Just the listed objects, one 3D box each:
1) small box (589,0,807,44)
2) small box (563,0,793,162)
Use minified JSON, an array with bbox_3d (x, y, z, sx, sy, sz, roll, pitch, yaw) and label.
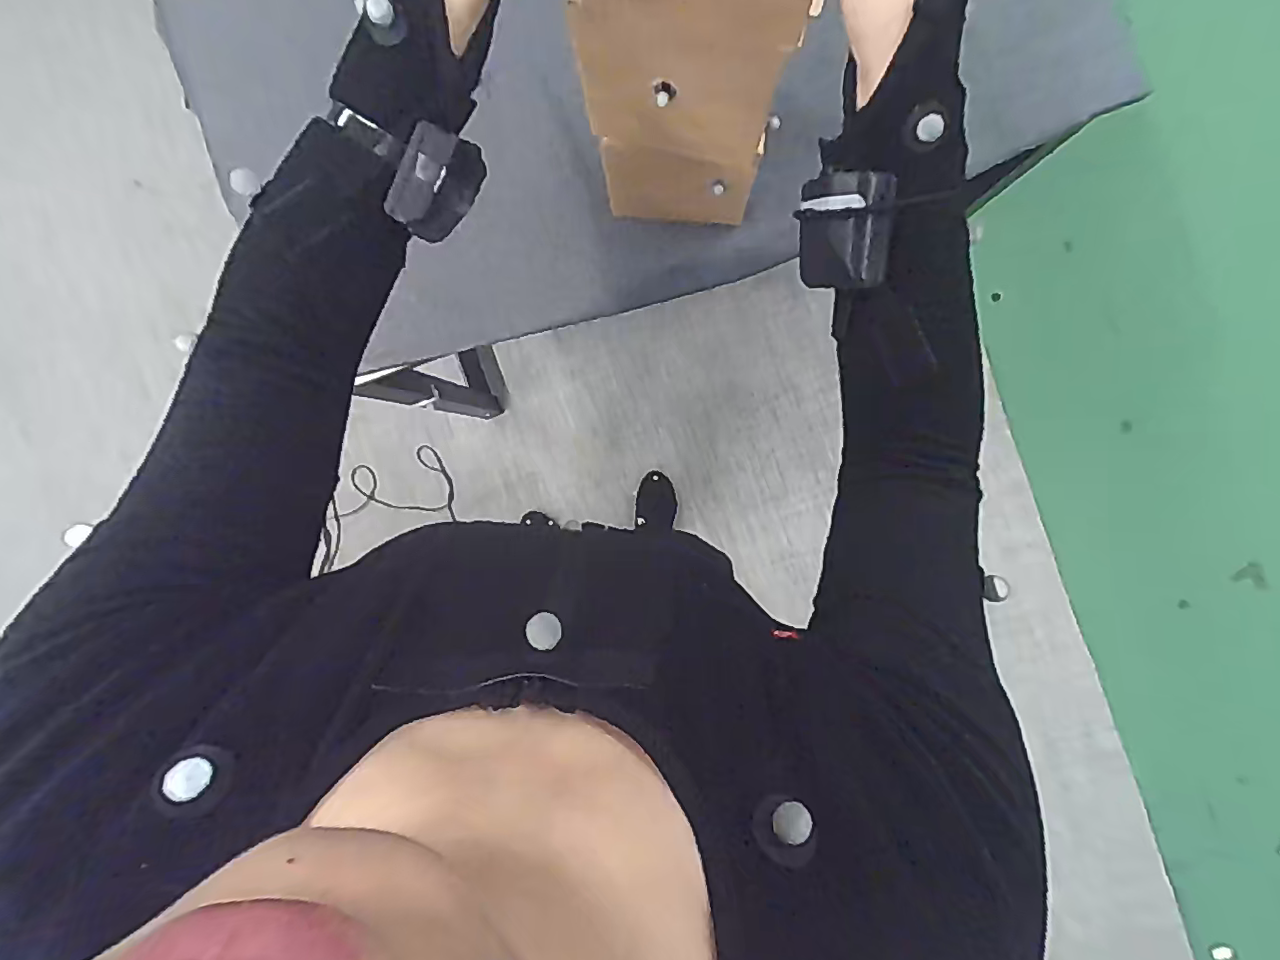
[{"bbox_3d":[0.046,-0.411,0.320,0.179,0.176,0.168,13,92,0],"label":"small box"},{"bbox_3d":[0.048,-0.419,0.483,0.179,0.176,0.168,14,92,2],"label":"small box"}]
